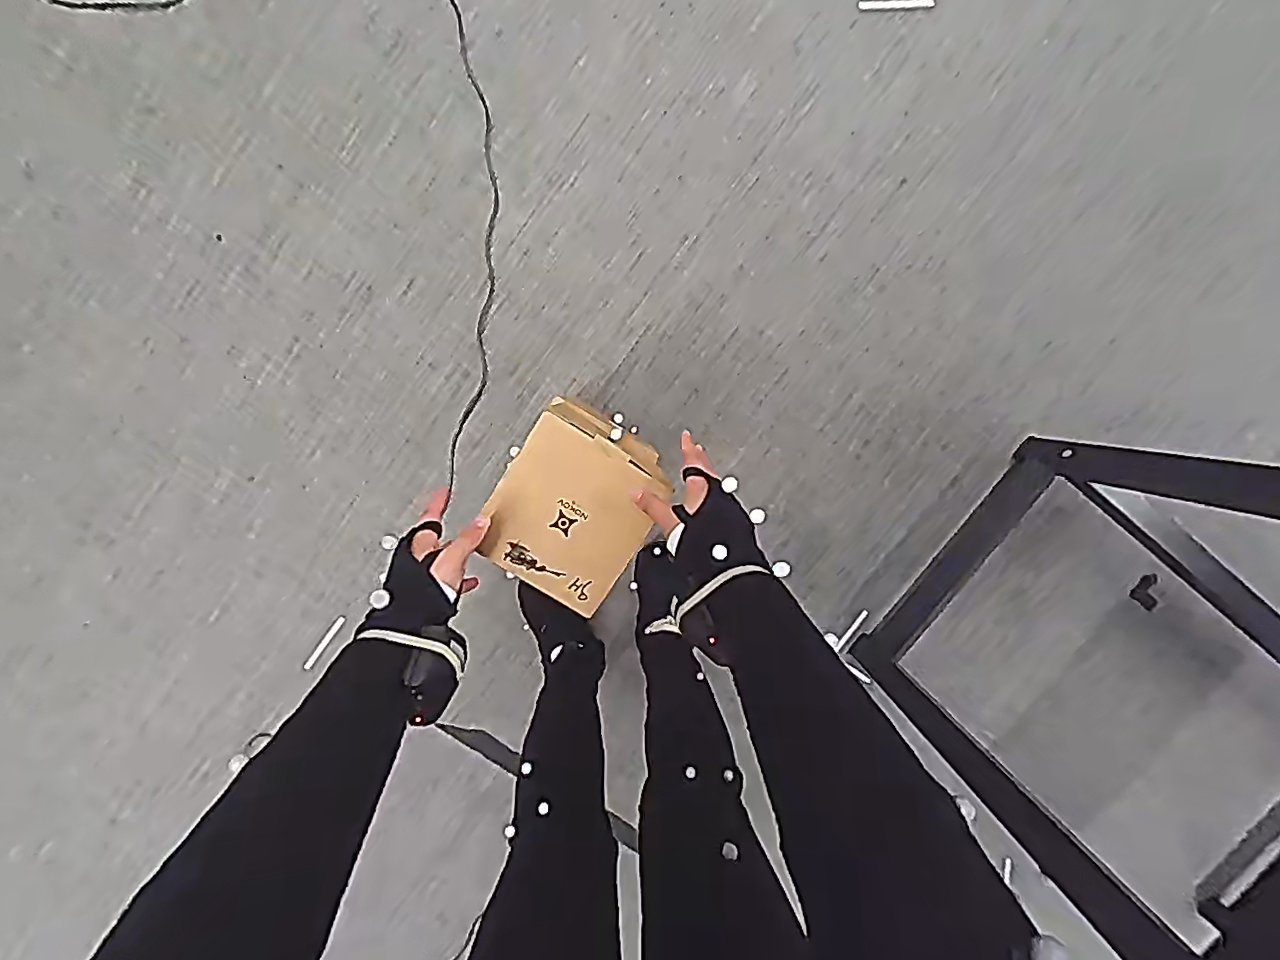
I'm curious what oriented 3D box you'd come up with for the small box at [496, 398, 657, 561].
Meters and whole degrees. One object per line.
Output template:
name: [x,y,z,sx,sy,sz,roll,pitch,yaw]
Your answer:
small box: [-0.091,-0.008,0.822,0.168,0.176,0.179,29,95,-8]
